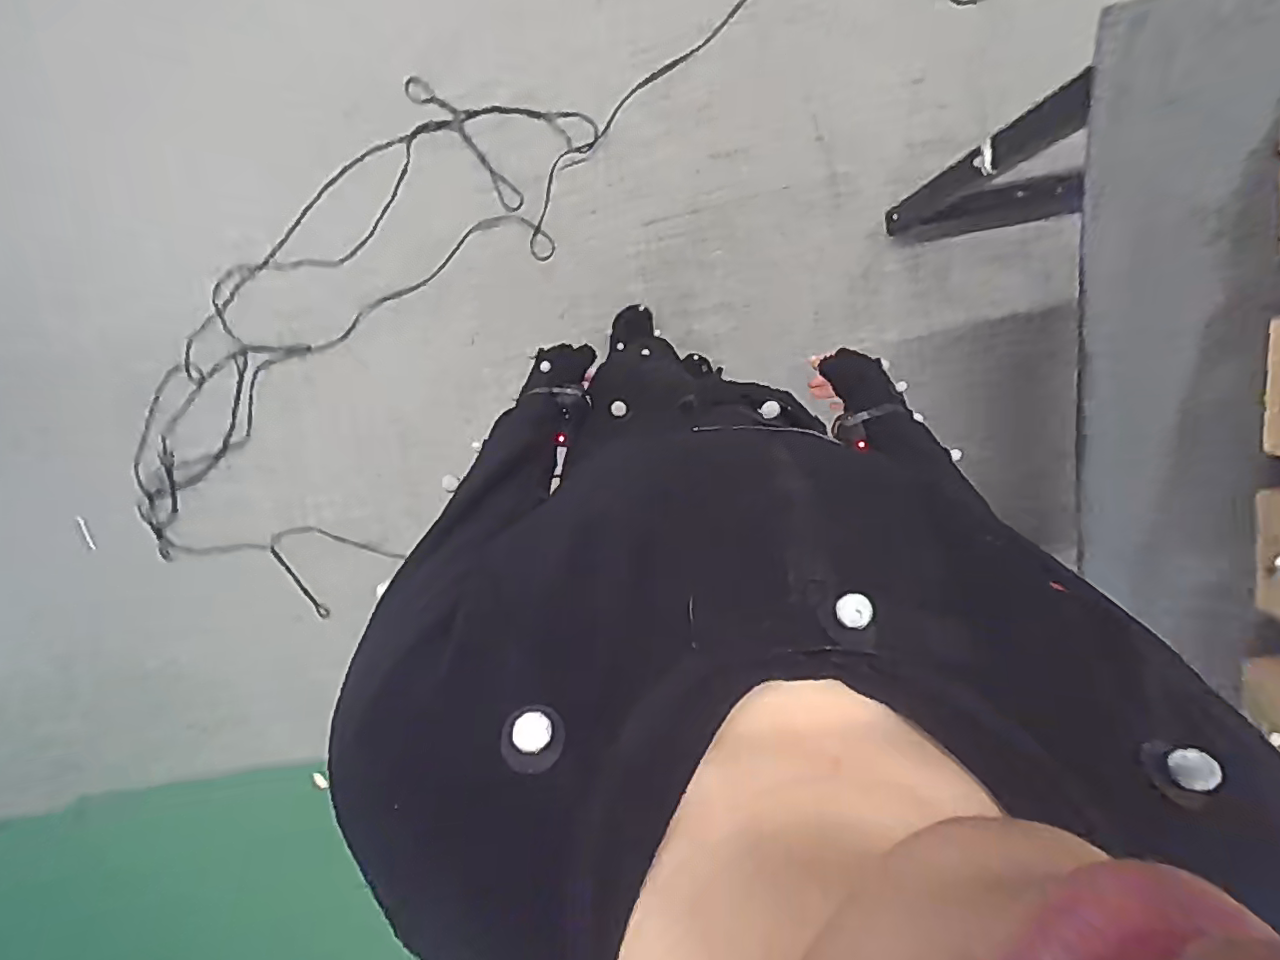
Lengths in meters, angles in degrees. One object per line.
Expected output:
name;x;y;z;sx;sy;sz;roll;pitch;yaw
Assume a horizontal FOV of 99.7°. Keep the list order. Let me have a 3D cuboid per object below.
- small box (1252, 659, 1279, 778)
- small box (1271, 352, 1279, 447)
small box;0.924;0.320;0.655;0.179;0.176;0.168;-11;100;6
small box;0.843;-0.113;0.570;0.179;0.176;0.168;-10;101;5
